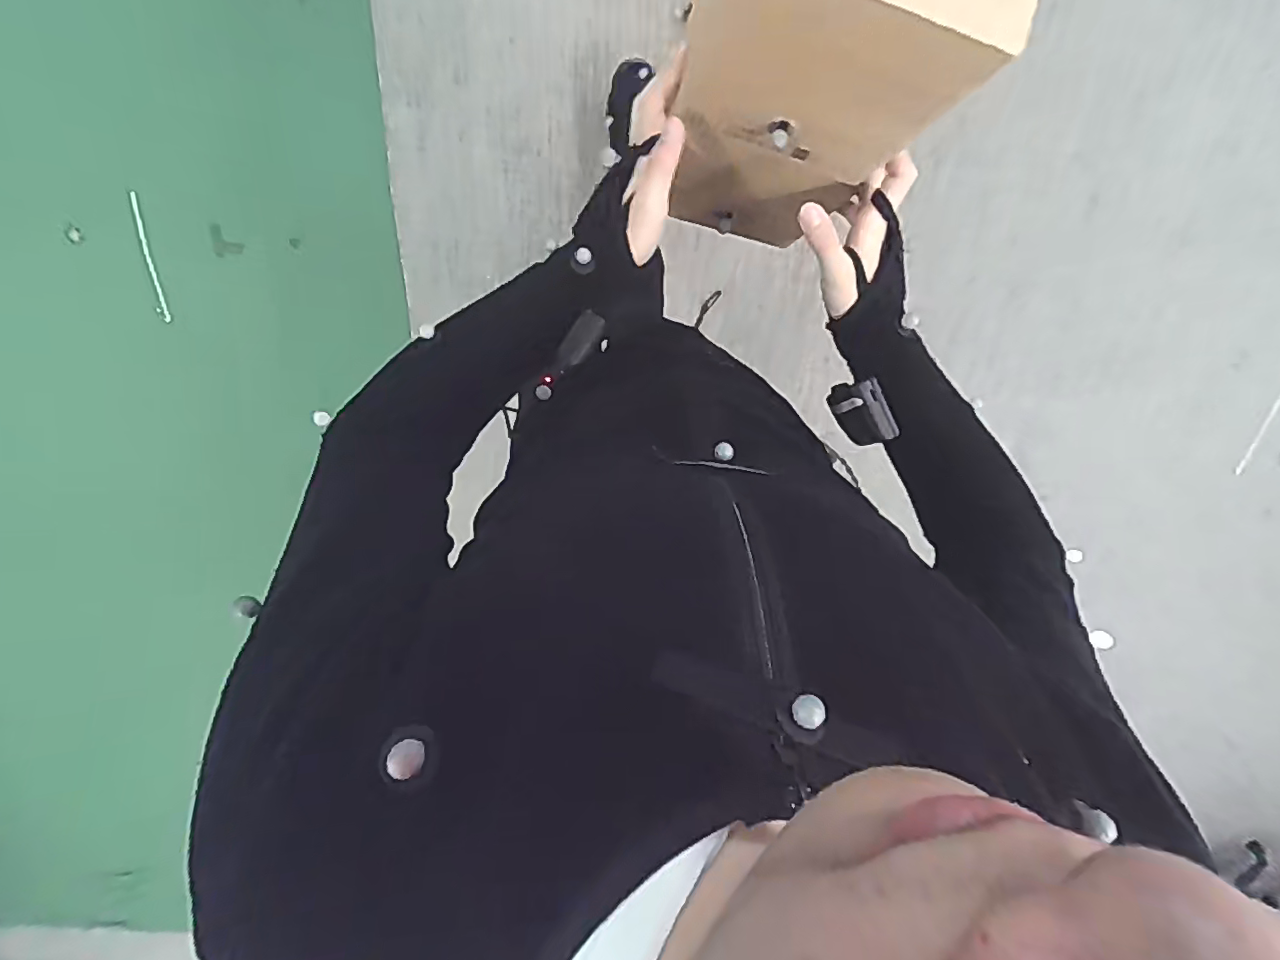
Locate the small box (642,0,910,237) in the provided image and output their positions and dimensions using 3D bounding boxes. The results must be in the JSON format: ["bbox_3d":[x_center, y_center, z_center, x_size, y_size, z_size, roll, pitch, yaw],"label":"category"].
[{"bbox_3d":[0.112,-0.354,0.515,0.179,0.176,0.168,11,93,-10],"label":"small box"}]
